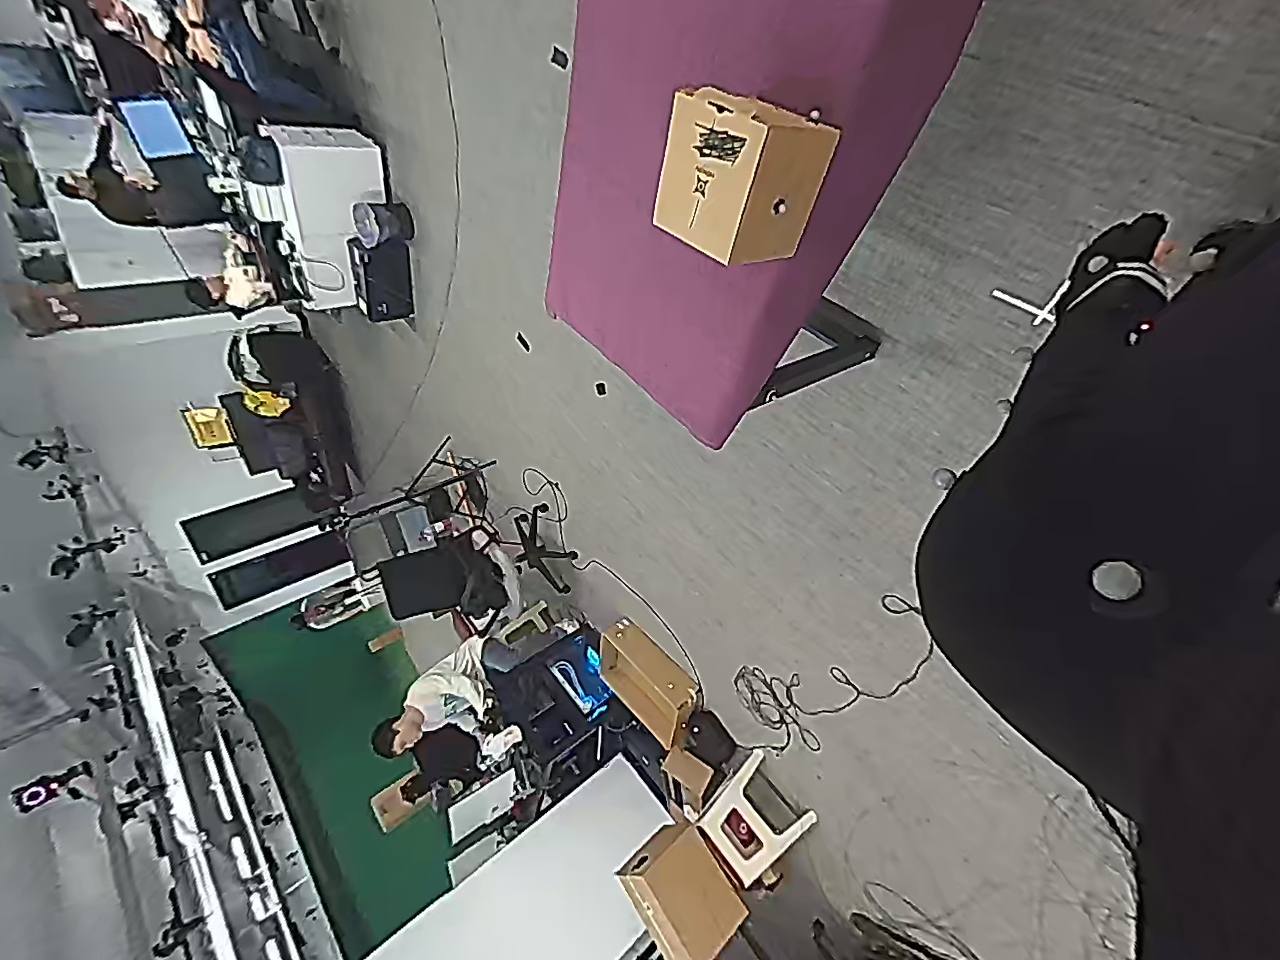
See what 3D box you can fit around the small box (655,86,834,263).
[{"bbox_3d":[0.151,-0.442,0.785,0.168,0.176,0.179,44,140,29],"label":"small box"}]
